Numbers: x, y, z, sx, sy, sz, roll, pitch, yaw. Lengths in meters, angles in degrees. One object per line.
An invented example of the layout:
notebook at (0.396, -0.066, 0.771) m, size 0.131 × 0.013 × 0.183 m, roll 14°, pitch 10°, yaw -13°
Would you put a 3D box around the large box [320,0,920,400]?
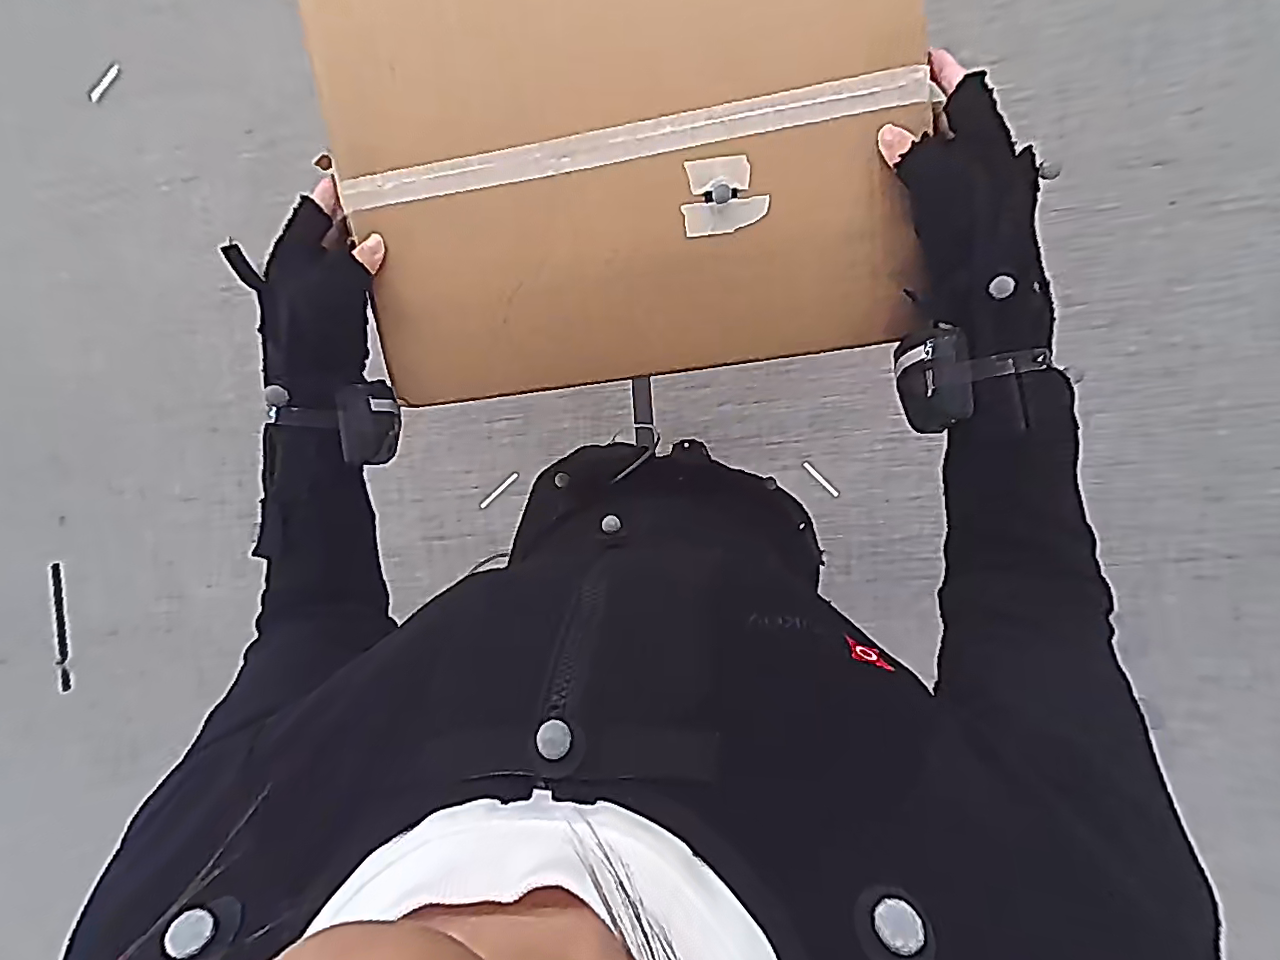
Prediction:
large box at (0.000, -0.272, 0.530) m, size 0.408 × 0.320 × 0.320 m, roll -7°, pitch 104°, yaw 7°
